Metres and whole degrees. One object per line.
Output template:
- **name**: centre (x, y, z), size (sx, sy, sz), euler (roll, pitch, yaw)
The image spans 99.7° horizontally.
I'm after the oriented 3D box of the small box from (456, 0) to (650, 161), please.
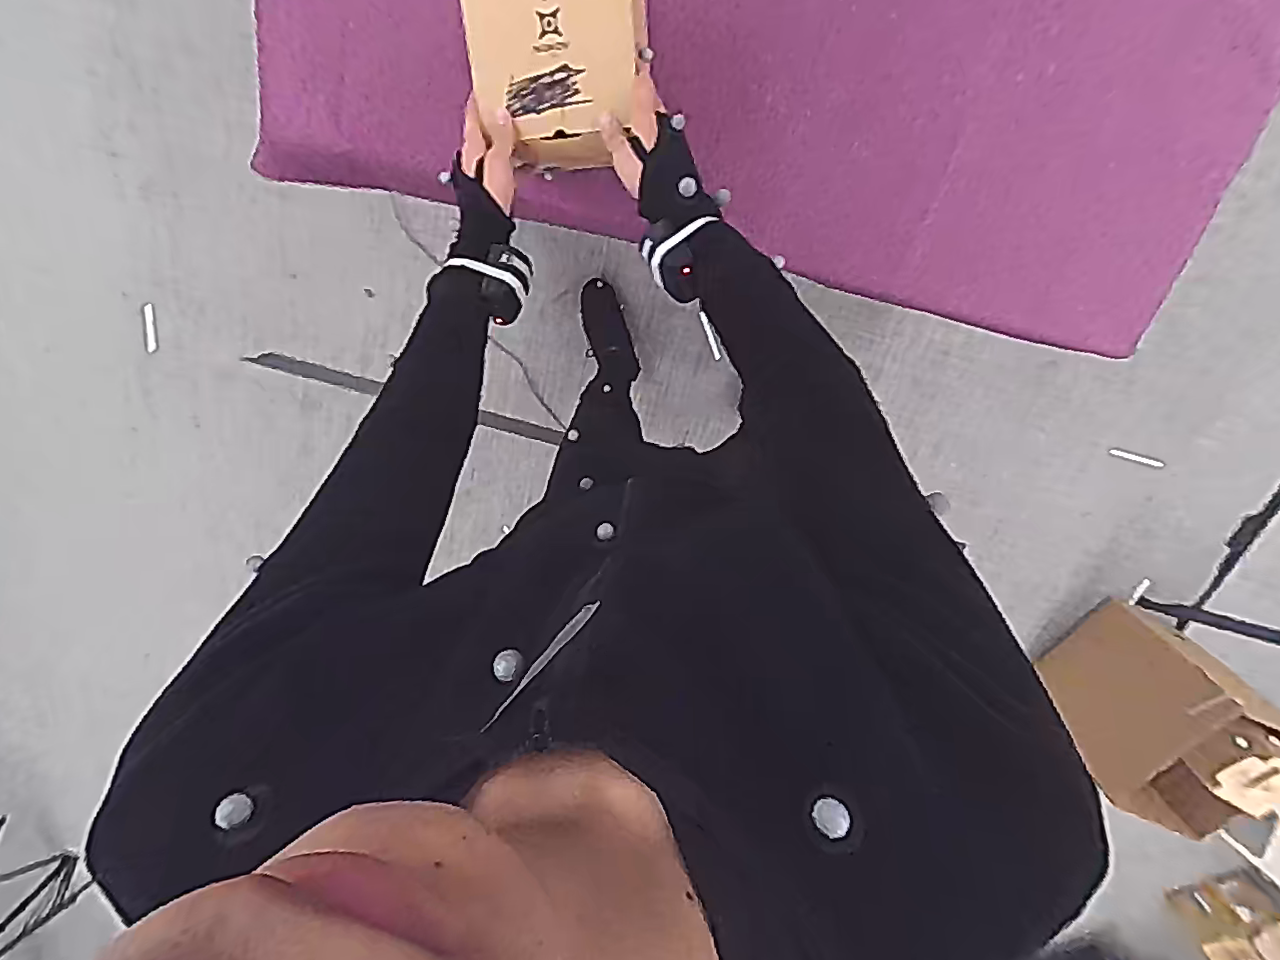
- **small box**: centre (-0.081, -0.457, 0.583), size (0.168, 0.176, 0.179), euler (-2, 111, 7)
